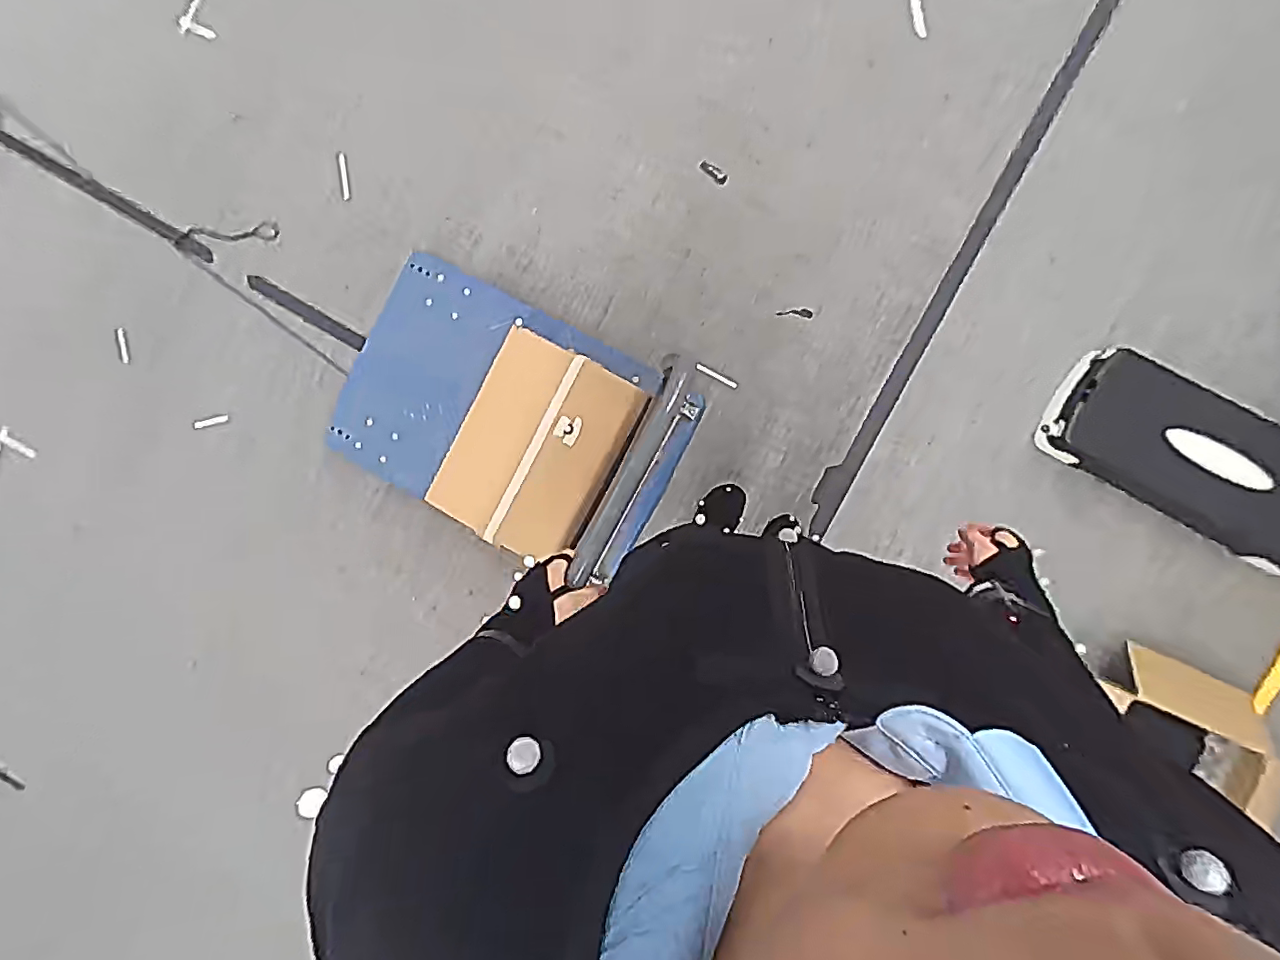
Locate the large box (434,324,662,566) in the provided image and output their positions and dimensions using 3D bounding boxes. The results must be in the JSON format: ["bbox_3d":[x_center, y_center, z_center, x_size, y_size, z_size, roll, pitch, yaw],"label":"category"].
[{"bbox_3d":[-0.184,-0.067,1.227,0.320,0.320,0.408,29,93,5],"label":"large box"}]
